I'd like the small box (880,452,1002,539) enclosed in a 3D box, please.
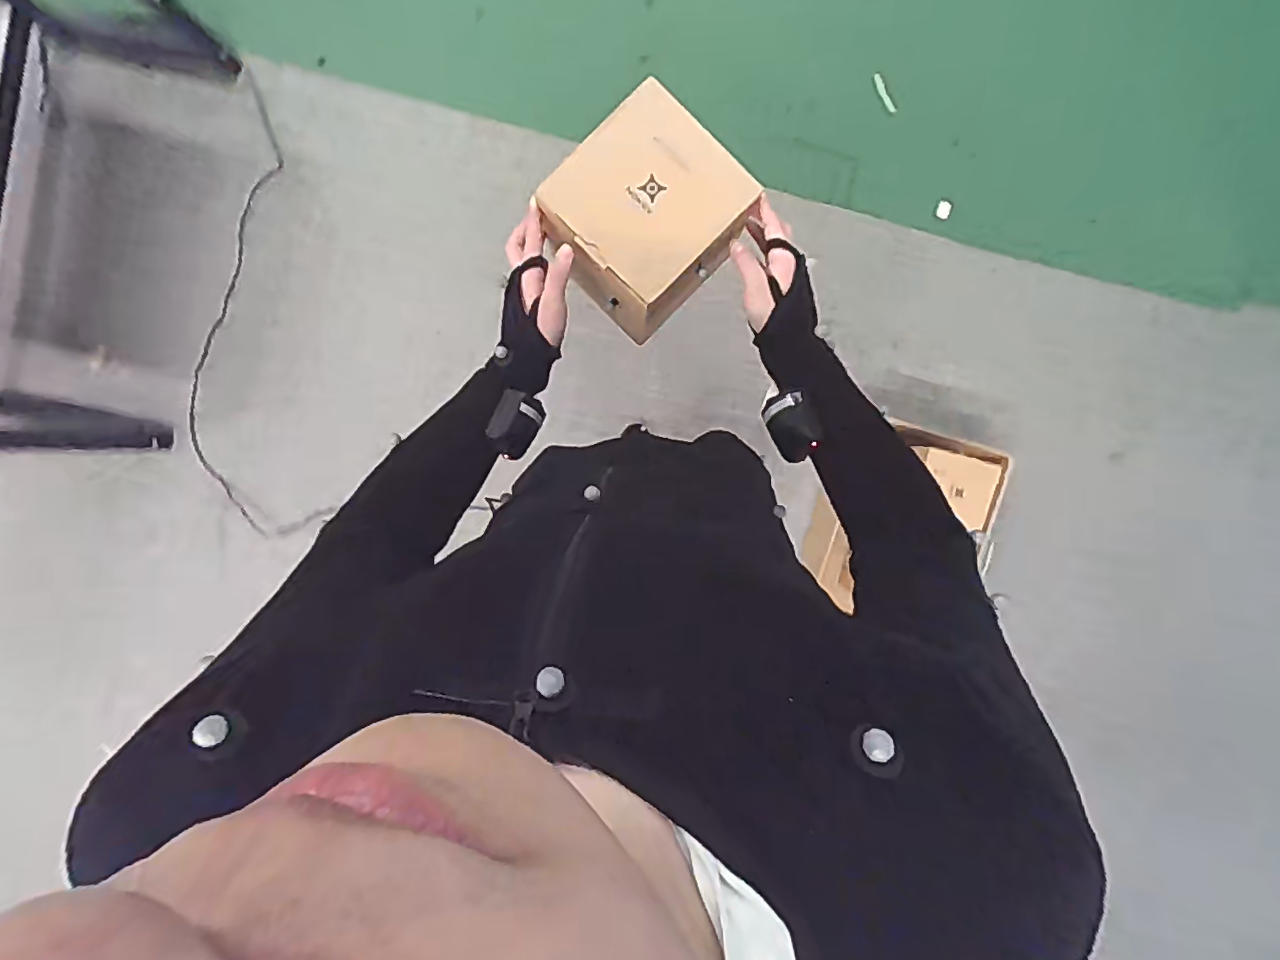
[{"bbox_3d":[0.723,0.029,1.316,0.179,0.176,0.168,17,94,0],"label":"small box"}]
